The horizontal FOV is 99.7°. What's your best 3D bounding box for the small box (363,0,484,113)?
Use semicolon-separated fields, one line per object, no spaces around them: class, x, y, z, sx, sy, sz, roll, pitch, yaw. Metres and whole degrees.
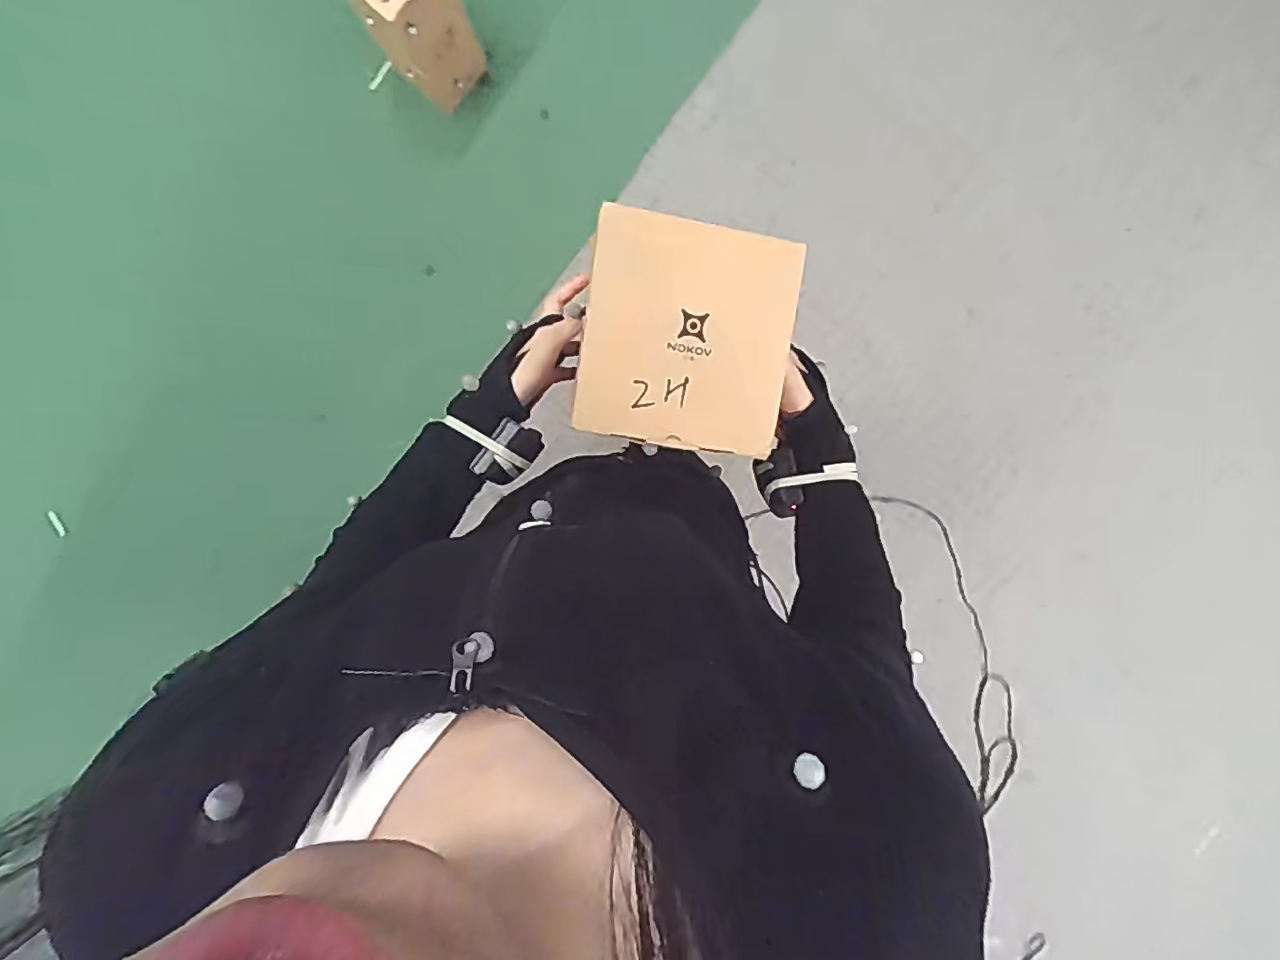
small box;-0.507;-1.036;1.291;0.179;0.176;0.168;41;94;-5

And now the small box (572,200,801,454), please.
small box;0.028;-0.127;0.508;0.168;0.176;0.179;7;97;-8
